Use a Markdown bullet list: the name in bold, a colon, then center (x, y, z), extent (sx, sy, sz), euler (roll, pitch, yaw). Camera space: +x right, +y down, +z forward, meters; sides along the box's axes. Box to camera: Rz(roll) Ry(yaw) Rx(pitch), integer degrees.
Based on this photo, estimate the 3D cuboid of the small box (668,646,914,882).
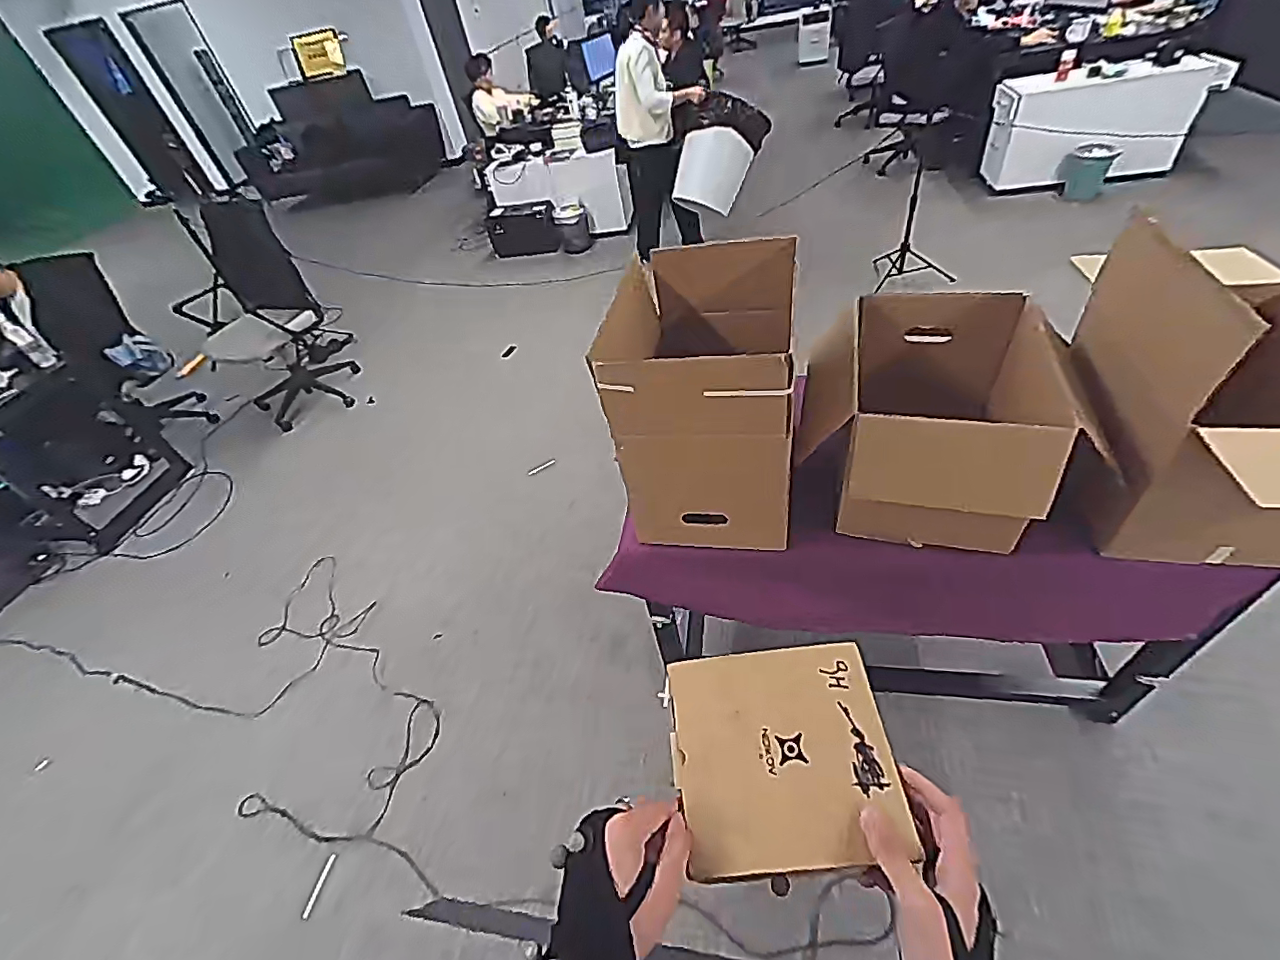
- **small box**: center (0.127, 0.274, 0.514), extent (0.179, 0.176, 0.168), euler (-7, 52, 5)
